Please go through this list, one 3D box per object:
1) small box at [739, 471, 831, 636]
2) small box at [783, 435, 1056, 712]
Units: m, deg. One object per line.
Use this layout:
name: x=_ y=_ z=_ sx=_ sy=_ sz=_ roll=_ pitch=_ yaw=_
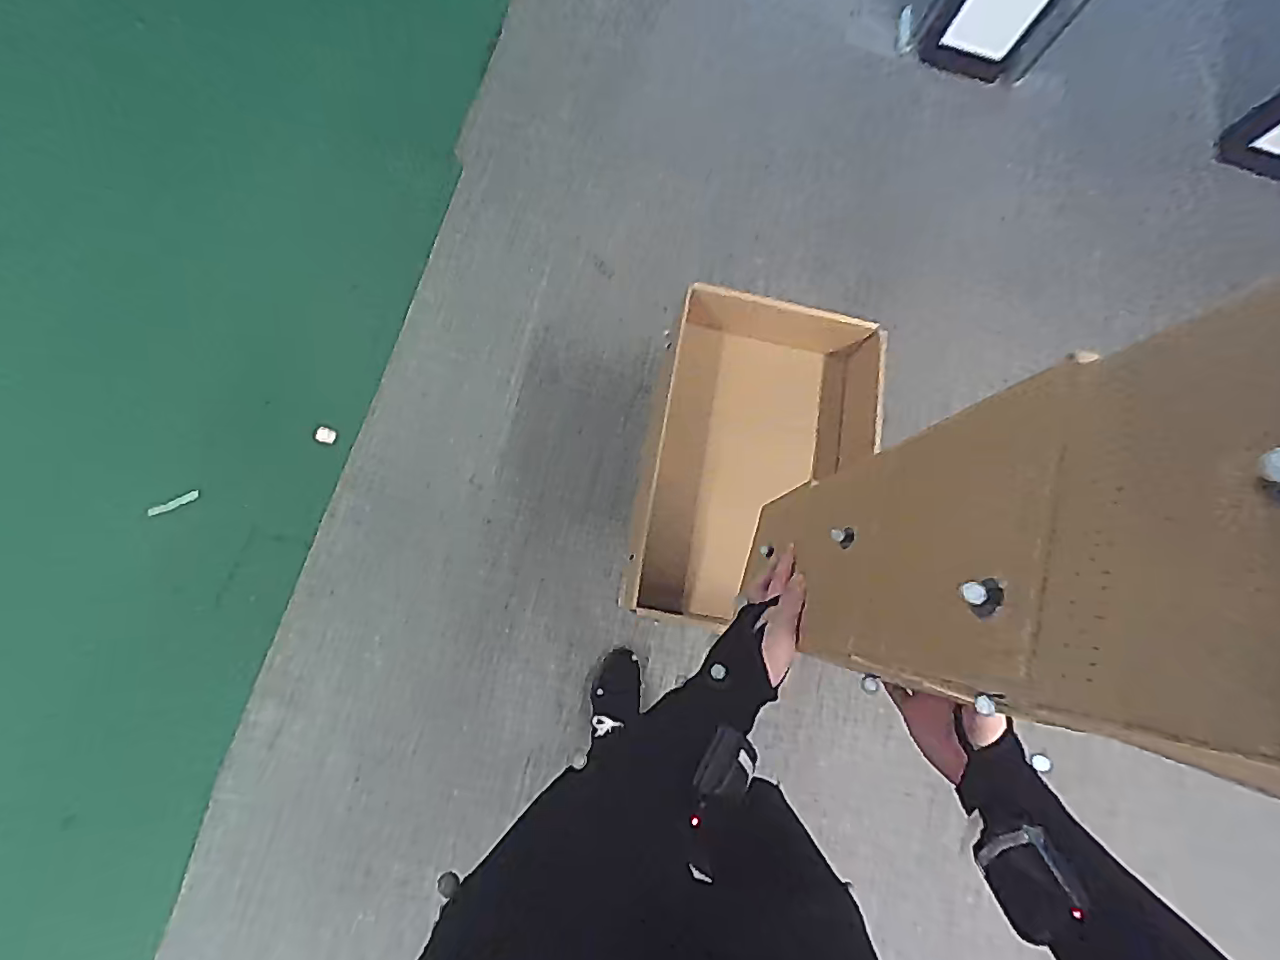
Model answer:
small box: x=0.233 y=0.112 z=0.659 sx=0.168 sy=0.176 sz=0.179 roll=19 pitch=75 yaw=-3
small box: x=0.250 y=0.085 z=0.497 sx=0.168 sy=0.176 sz=0.179 roll=19 pitch=76 yaw=-2
